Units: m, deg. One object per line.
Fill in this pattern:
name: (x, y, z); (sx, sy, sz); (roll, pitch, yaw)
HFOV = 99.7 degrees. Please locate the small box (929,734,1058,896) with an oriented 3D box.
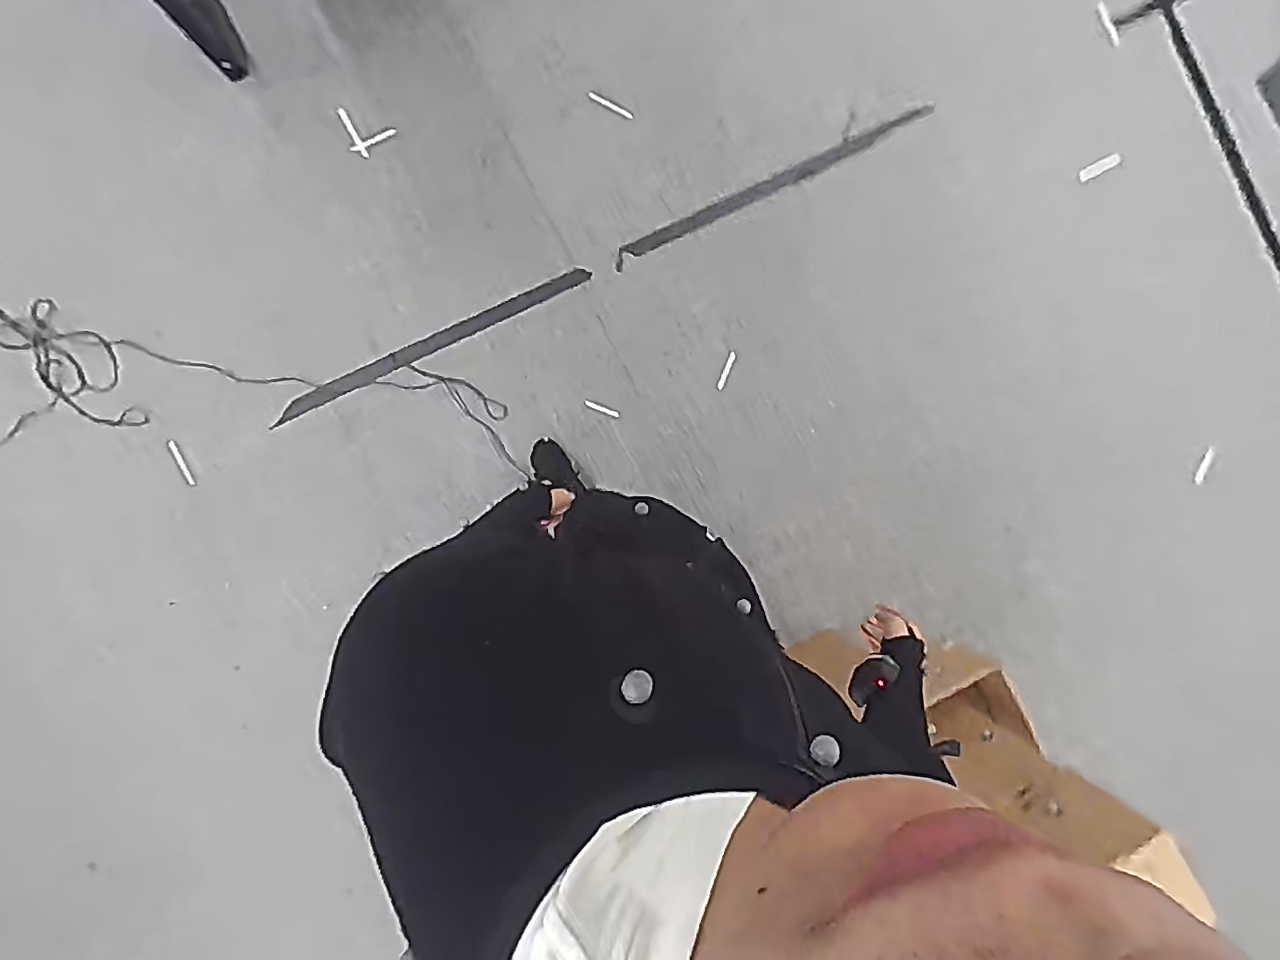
small box: (0.696, 0.618, 1.030); (0.168, 0.176, 0.179); (-31, 95, -3)

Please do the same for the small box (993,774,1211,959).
small box: (0.724, 0.623, 0.867); (0.168, 0.176, 0.179); (-32, 95, -3)
